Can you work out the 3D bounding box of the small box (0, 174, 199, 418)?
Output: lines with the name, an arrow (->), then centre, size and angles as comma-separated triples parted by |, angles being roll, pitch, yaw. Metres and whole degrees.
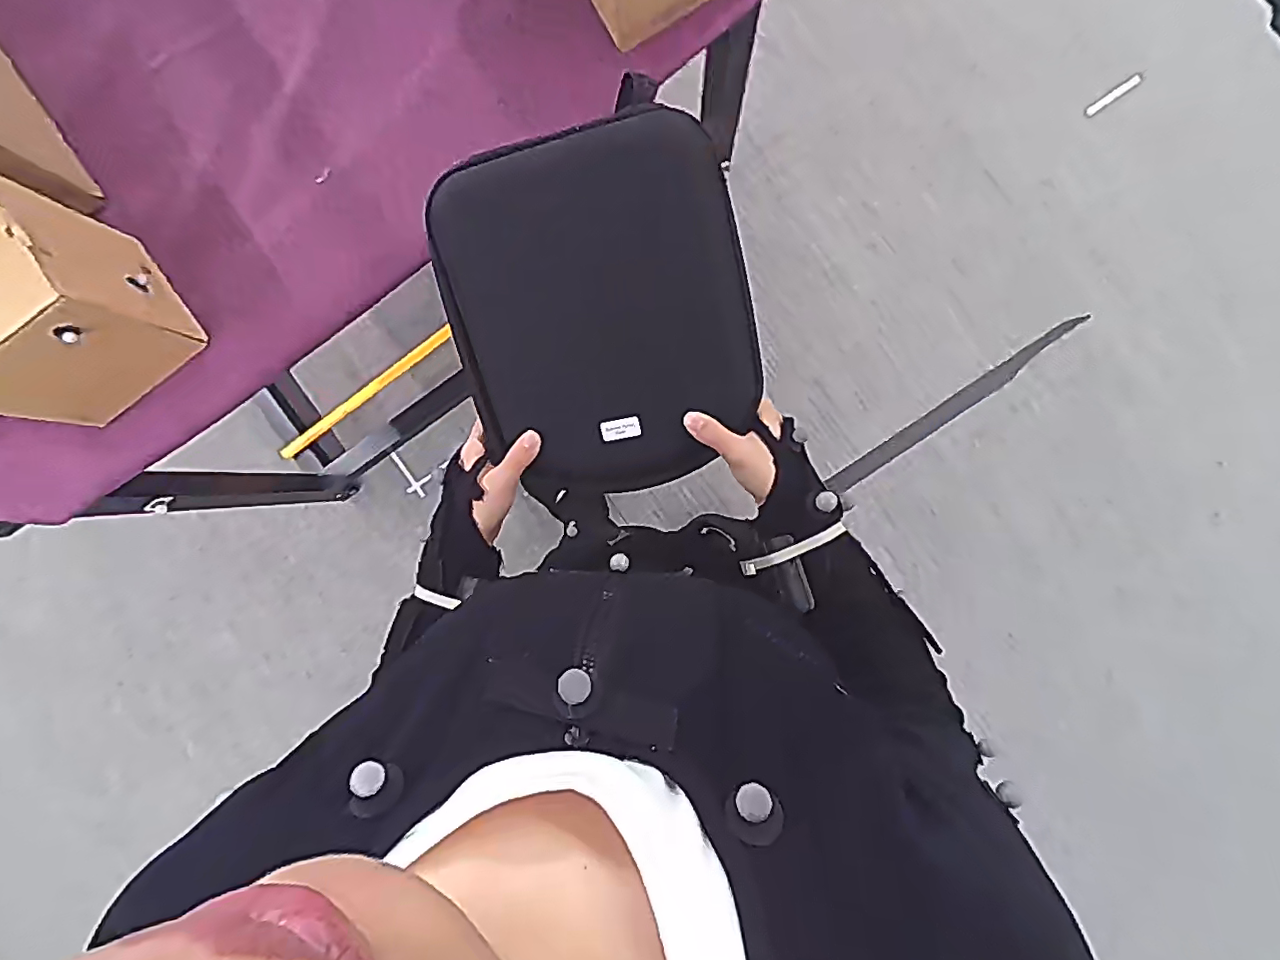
small box -> -0.652, -0.187, 0.589 | 0.179, 0.176, 0.168 | -38, 87, 1
